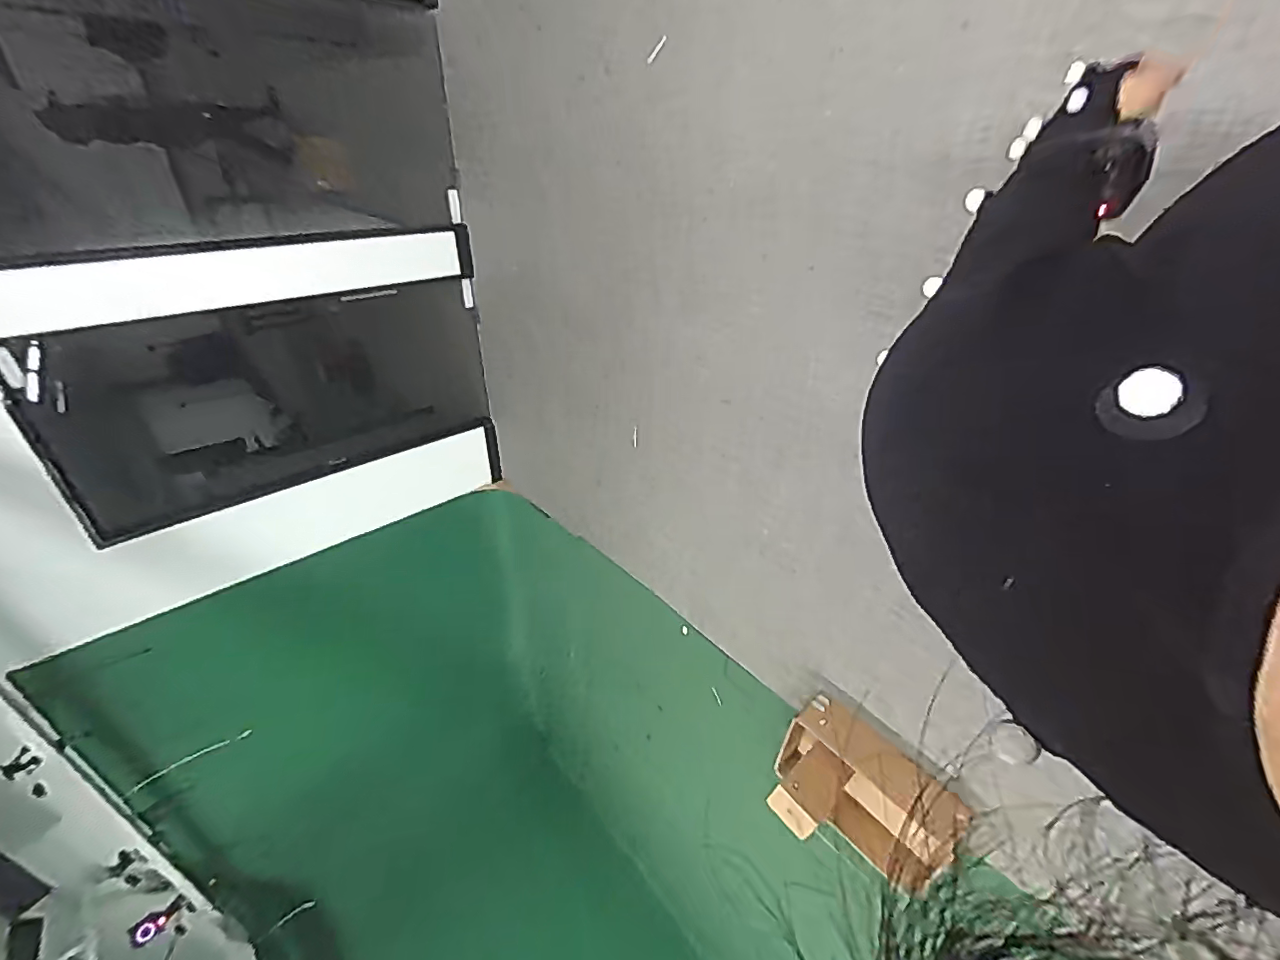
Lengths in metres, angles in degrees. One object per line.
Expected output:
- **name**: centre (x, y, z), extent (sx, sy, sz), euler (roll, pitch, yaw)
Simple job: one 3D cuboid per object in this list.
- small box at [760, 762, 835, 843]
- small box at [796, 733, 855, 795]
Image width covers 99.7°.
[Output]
- **small box**: centre (0.584, 1.183, 2.001), extent (0.179, 0.176, 0.168), euler (39, 136, 30)
- **small box**: centre (0.704, 1.132, 2.102), extent (0.168, 0.176, 0.179), euler (39, 135, 30)
